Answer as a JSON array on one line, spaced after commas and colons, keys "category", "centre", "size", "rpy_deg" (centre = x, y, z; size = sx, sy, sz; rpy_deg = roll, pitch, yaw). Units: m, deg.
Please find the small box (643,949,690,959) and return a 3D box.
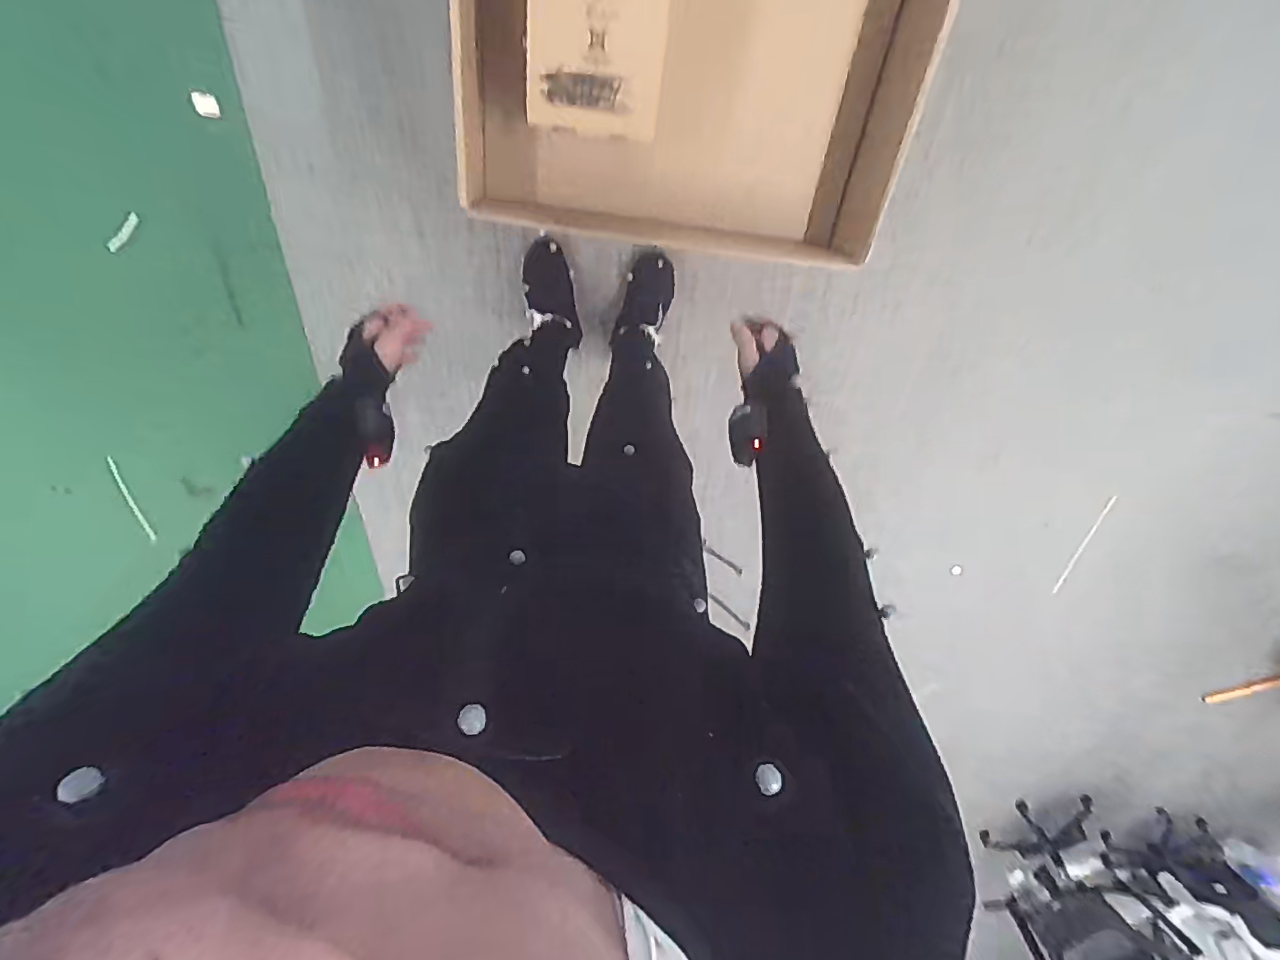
[{"category": "small box", "centre": [0.099, 1.766, 1.884], "size": [0.168, 0.176, 0.179], "rpy_deg": [-3, 124, -1]}]
